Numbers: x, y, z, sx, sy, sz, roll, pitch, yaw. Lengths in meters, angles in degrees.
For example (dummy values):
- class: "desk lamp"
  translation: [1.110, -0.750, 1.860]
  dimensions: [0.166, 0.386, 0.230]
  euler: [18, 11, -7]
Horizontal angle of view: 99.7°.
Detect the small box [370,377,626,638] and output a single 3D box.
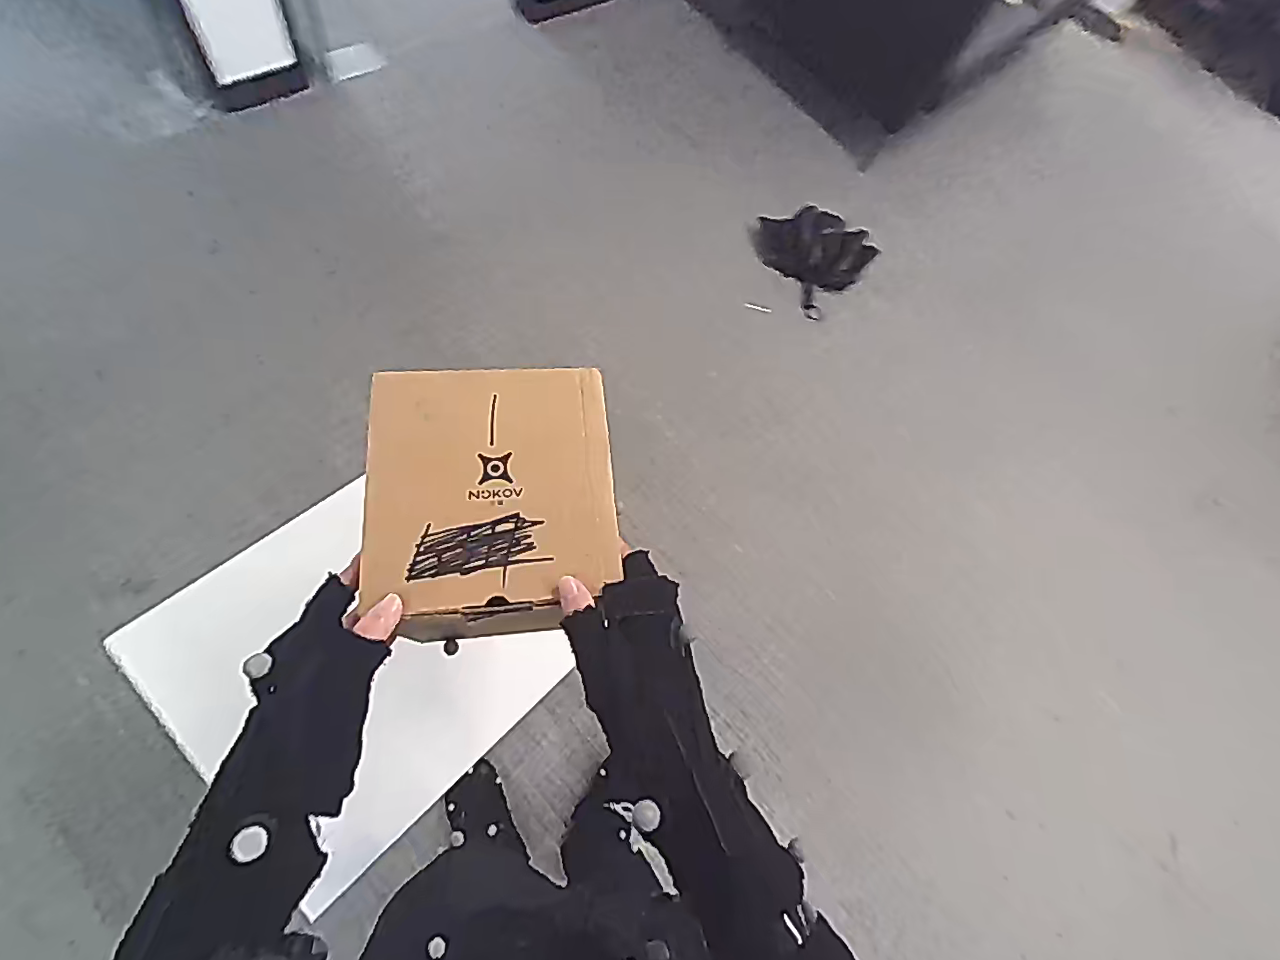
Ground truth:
- class: "small box"
  translation: [-0.105, 0.034, 0.449]
  dimensions: [0.168, 0.176, 0.179]
  euler: [-3, 69, -9]
